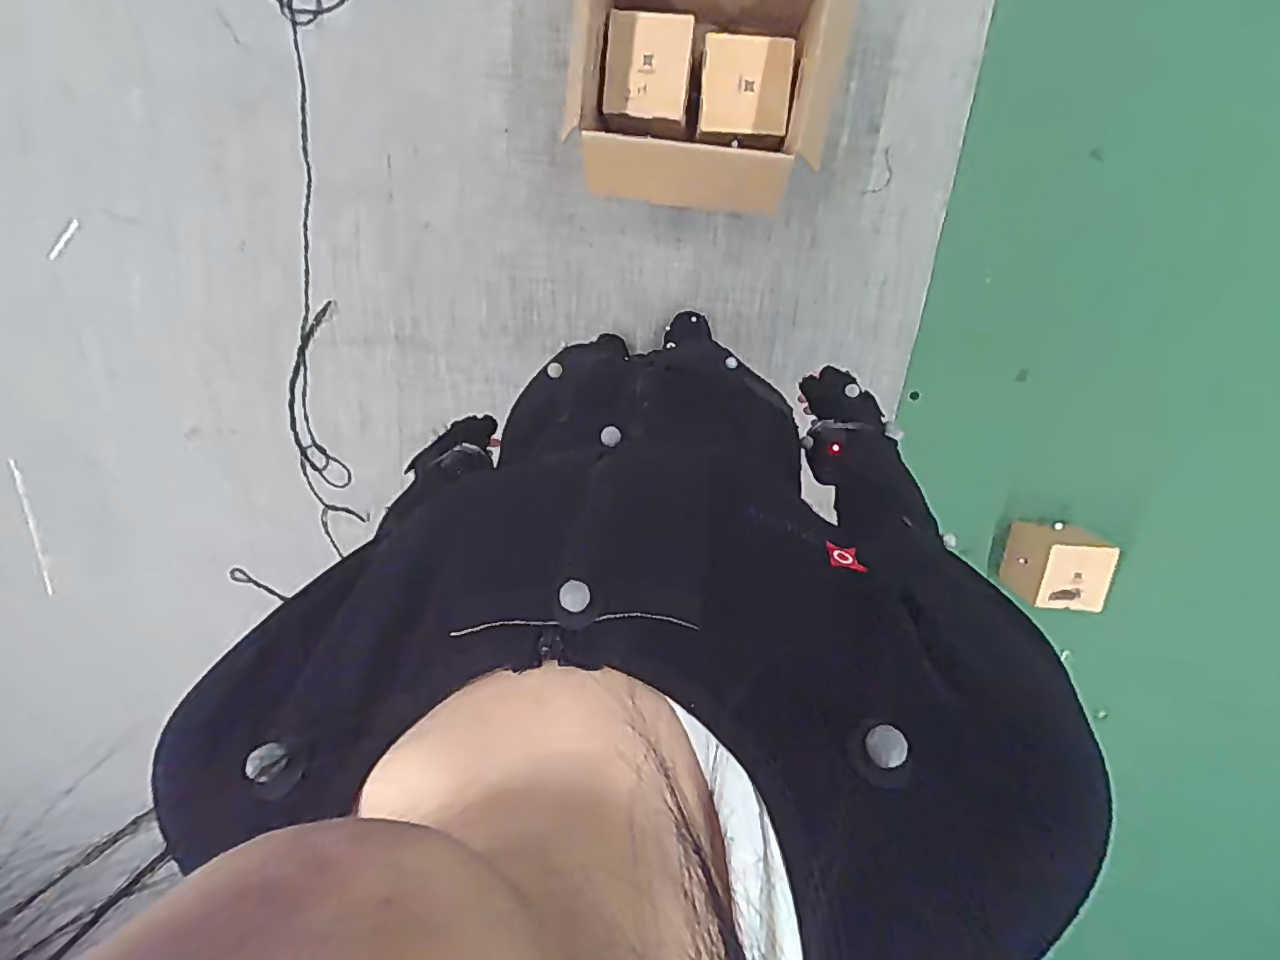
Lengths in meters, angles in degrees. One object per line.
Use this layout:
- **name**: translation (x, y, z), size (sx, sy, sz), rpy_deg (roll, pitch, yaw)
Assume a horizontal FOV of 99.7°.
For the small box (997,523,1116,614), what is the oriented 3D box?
- **small box**: translation (1.084, 0.229, 1.426), size (0.168, 0.176, 0.179), rpy_deg (4, 107, 2)
